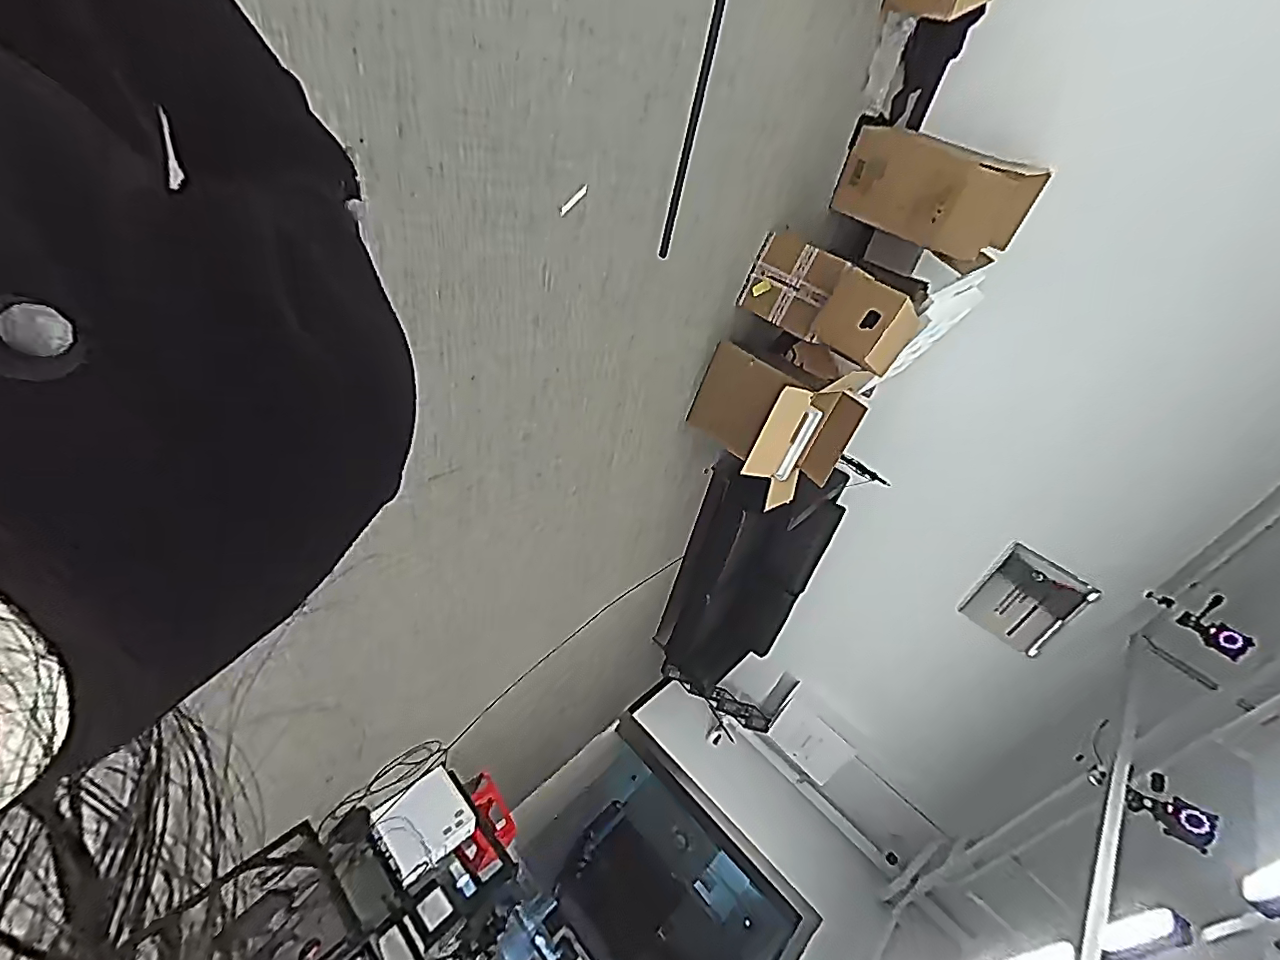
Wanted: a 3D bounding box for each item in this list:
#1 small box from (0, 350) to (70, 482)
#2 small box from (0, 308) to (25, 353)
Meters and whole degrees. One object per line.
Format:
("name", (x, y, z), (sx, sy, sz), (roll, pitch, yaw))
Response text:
("small box", (-1.100, -0.106, 0.892), (0.179, 0.176, 0.168), (-20, 137, -48))
("small box", (-1.217, -0.200, 0.961), (0.179, 0.176, 0.168), (-22, 140, -45))
